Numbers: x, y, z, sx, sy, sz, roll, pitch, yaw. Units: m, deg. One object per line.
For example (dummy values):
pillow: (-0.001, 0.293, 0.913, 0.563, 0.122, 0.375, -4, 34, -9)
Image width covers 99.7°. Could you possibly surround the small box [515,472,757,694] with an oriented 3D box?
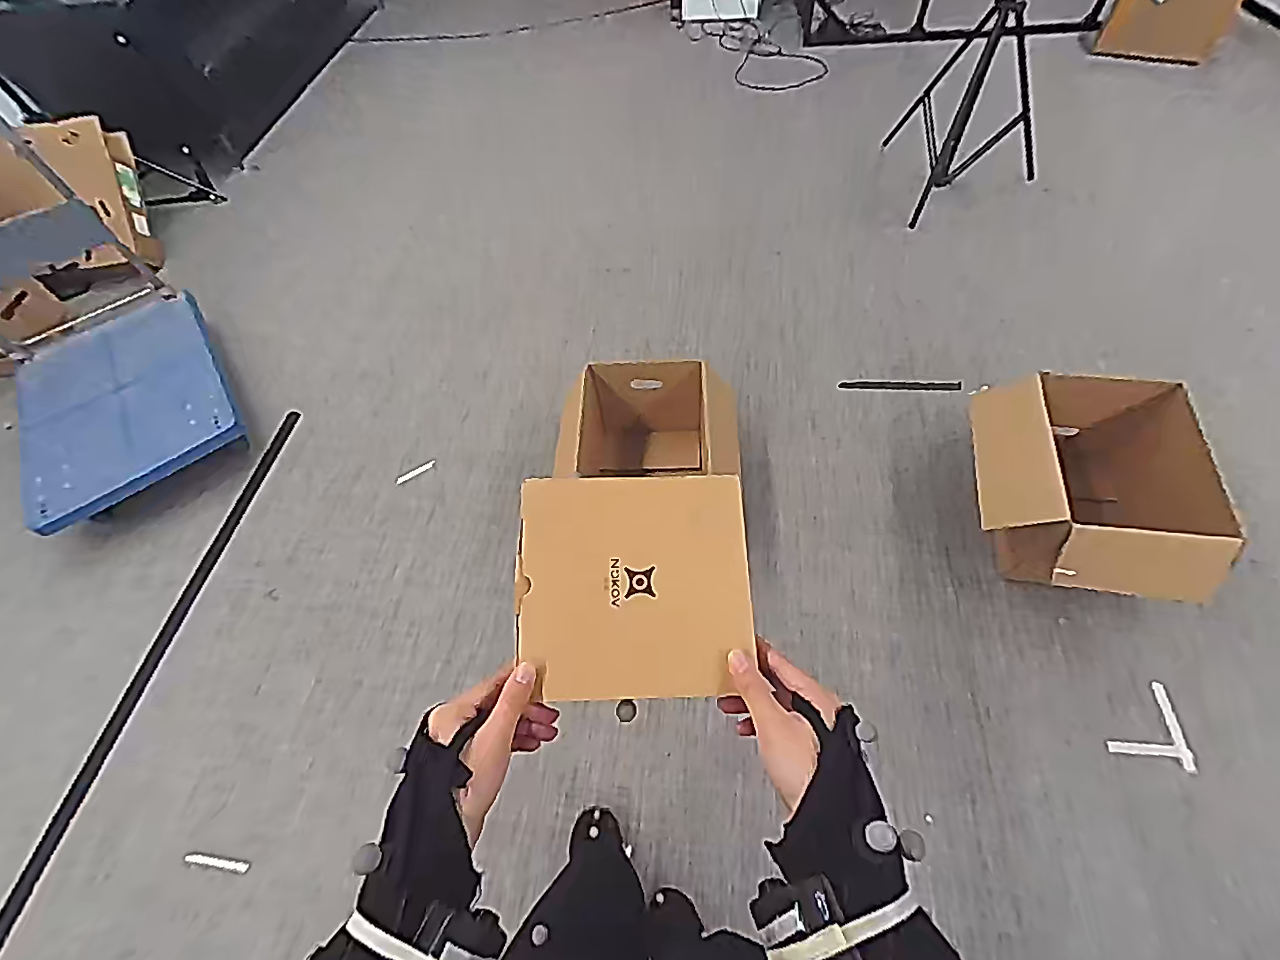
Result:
small box: (-0.005, 0.097, 0.484, 0.179, 0.176, 0.168, -2, 71, 0)
